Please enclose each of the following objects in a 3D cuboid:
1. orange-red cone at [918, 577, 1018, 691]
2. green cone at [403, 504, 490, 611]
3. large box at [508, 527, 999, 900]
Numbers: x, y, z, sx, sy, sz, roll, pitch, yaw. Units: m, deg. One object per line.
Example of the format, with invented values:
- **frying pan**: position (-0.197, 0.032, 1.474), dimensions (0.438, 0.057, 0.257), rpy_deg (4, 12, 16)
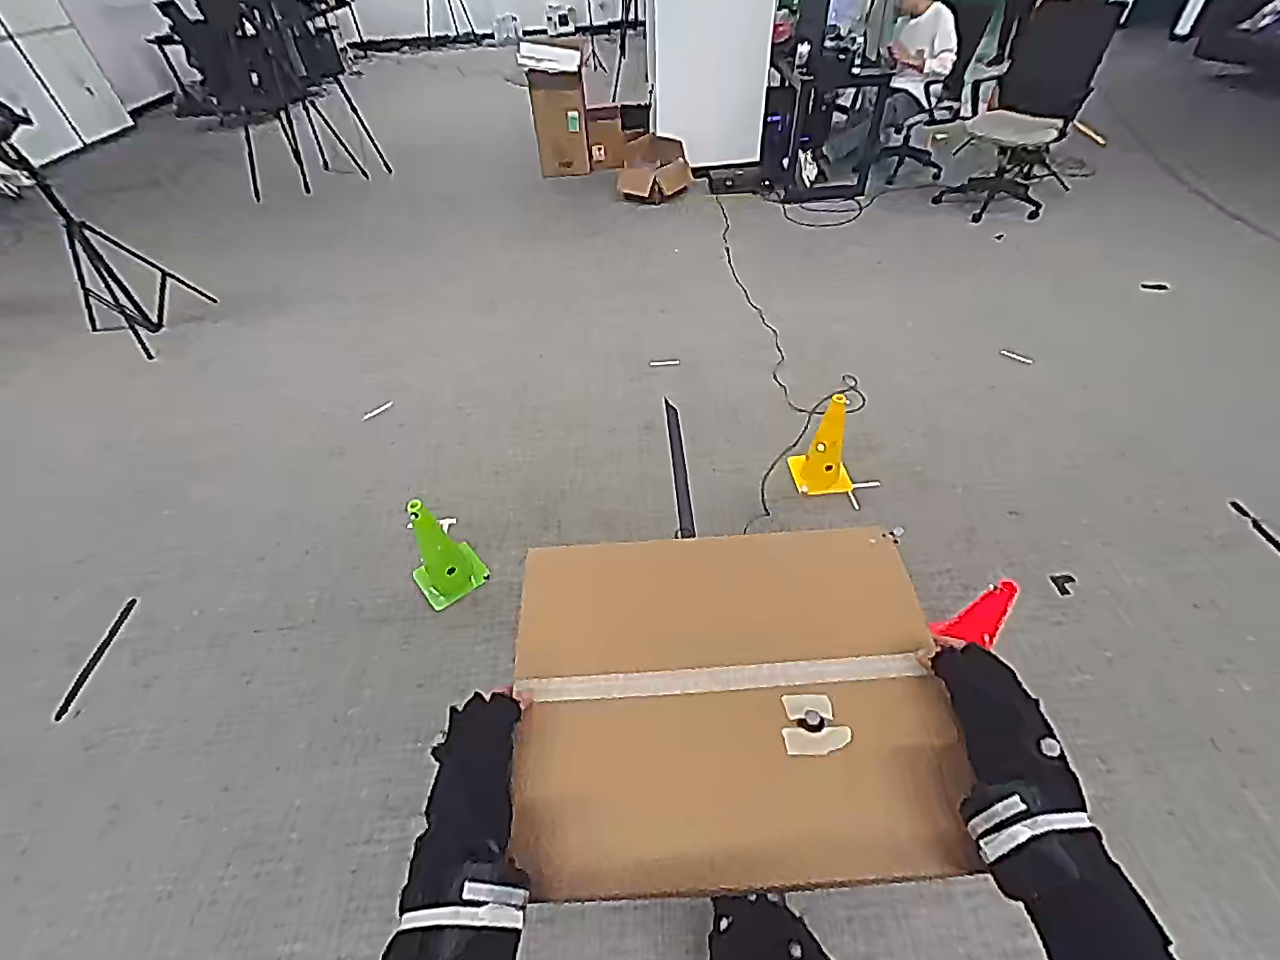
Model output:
- **orange-red cone**: position (0.869, 0.364, 1.384), dimensions (0.198, 0.360, 0.199), rpy_deg (-6, 44, -2)
- **green cone**: position (-0.634, 0.199, 1.663), dimensions (0.202, 0.368, 0.200), rpy_deg (-35, 52, -24)
- **large box**: position (0.086, 0.280, 0.635), dimensions (0.408, 0.320, 0.320), rpy_deg (-4, 52, 0)
